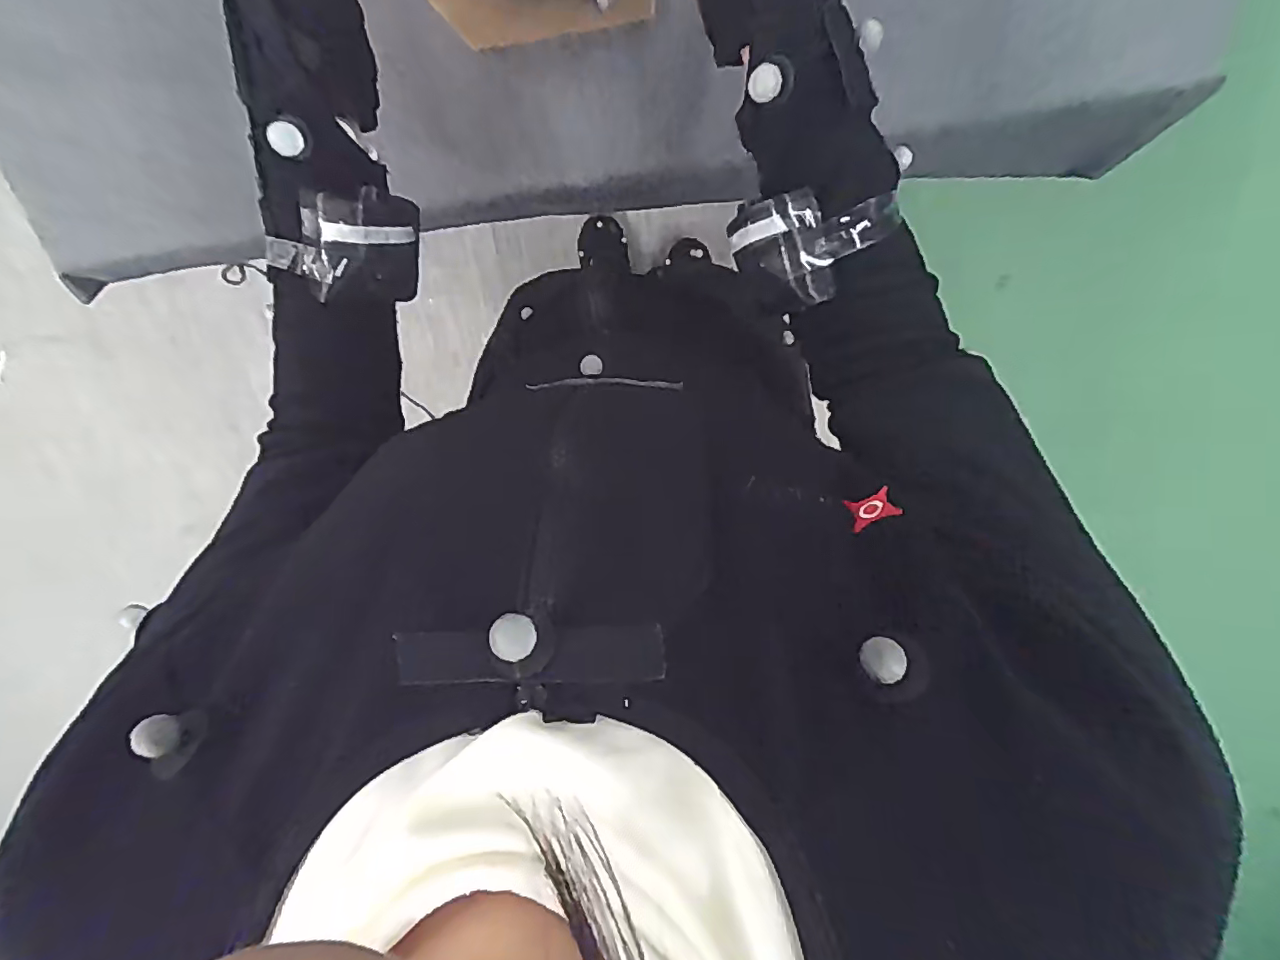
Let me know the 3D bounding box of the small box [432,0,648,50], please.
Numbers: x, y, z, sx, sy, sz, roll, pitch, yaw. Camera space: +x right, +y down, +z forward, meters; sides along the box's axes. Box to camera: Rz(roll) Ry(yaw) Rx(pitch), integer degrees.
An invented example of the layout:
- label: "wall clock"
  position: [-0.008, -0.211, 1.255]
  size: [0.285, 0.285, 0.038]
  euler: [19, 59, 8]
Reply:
- label: "small box"
  position: [-0.083, -0.462, 0.407]
  size: [0.179, 0.176, 0.168]
  euler: [-8, 113, 5]

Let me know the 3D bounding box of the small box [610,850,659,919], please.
- label: "small box"
  position: [-0.016, 1.638, 2.192]
  size: [0.179, 0.176, 0.168]
  euler: [-7, 114, 5]
